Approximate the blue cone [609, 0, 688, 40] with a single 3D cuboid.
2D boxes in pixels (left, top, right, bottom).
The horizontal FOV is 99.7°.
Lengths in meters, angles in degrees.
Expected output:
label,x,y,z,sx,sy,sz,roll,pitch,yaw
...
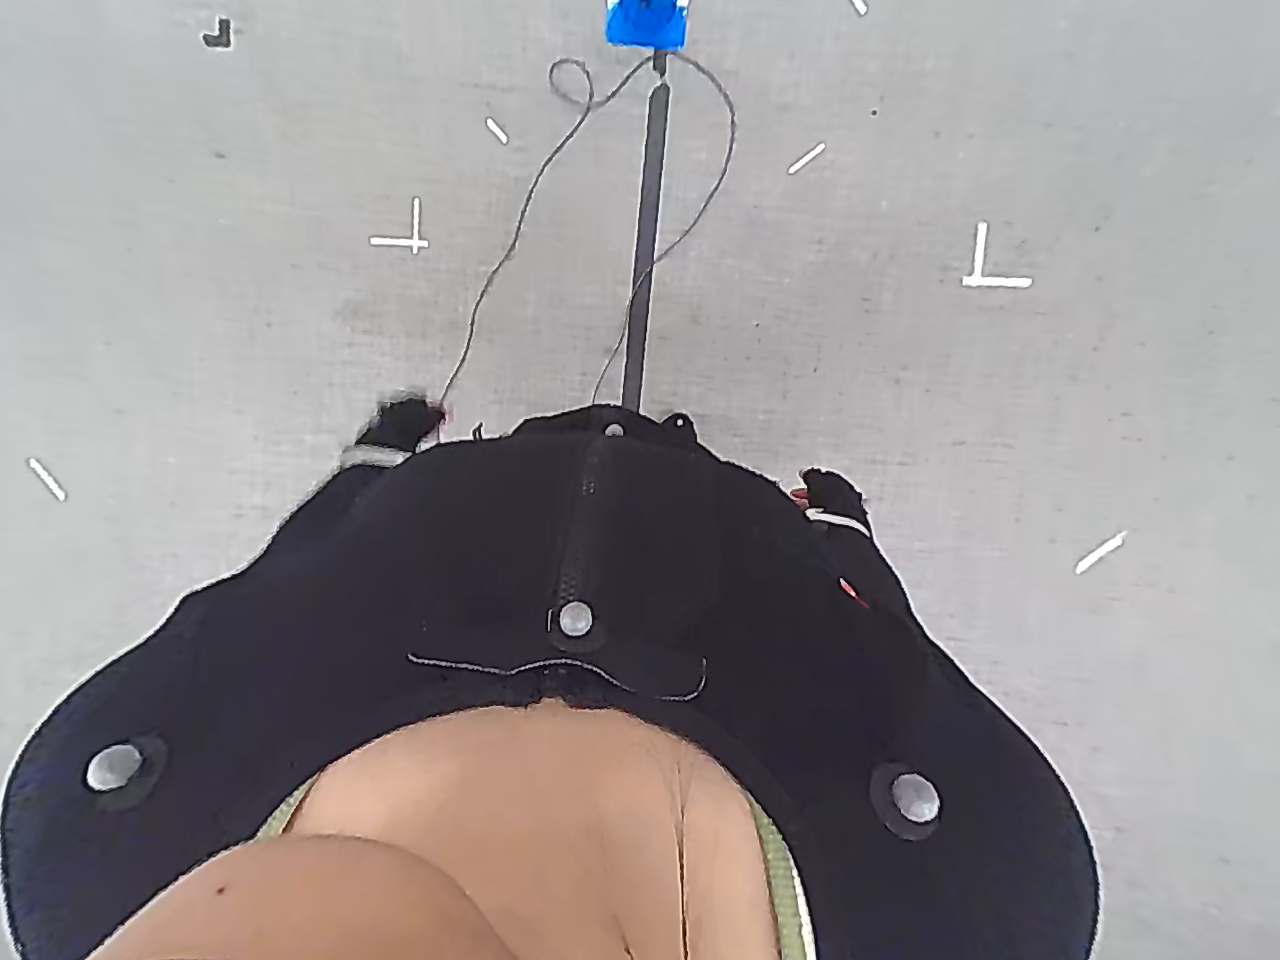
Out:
label,x,y,z,sx,sy,sz,roll,pitch,yaw
blue cone,0.016,-1.150,1.147,0.193,0.380,0.192,4,98,1
